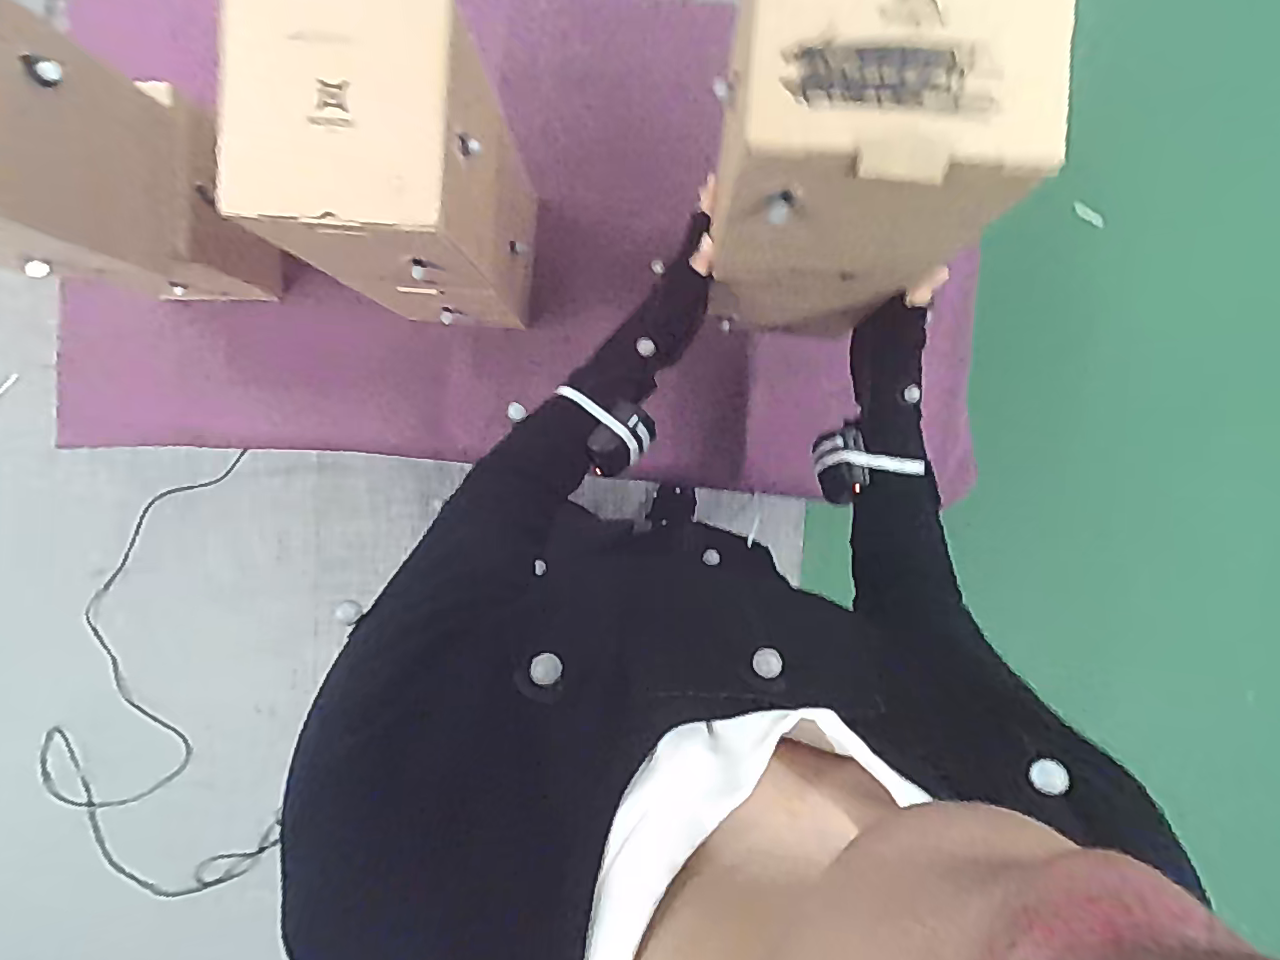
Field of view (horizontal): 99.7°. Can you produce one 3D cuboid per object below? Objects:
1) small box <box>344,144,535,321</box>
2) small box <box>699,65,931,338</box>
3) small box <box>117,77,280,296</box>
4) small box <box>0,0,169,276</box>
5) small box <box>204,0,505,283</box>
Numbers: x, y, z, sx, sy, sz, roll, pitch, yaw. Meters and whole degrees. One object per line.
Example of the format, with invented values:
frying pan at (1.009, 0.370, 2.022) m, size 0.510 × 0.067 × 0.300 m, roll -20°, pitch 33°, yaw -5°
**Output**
small box at (-0.223, -0.292, 0.638) m, size 0.168 × 0.176 × 0.179 m, roll 2°, pitch 93°, yaw 2°
small box at (0.154, -0.253, 0.534) m, size 0.168 × 0.176 × 0.179 m, roll 8°, pitch 88°, yaw 1°
small box at (-0.559, -0.331, 0.637) m, size 0.168 × 0.176 × 0.179 m, roll 1°, pitch 94°, yaw 0°
small box at (-0.562, -0.297, 0.474) m, size 0.168 × 0.176 × 0.179 m, roll 2°, pitch 94°, yaw 0°
small box at (-0.219, -0.280, 0.456) m, size 0.168 × 0.176 × 0.179 m, roll 5°, pitch 93°, yaw 0°
